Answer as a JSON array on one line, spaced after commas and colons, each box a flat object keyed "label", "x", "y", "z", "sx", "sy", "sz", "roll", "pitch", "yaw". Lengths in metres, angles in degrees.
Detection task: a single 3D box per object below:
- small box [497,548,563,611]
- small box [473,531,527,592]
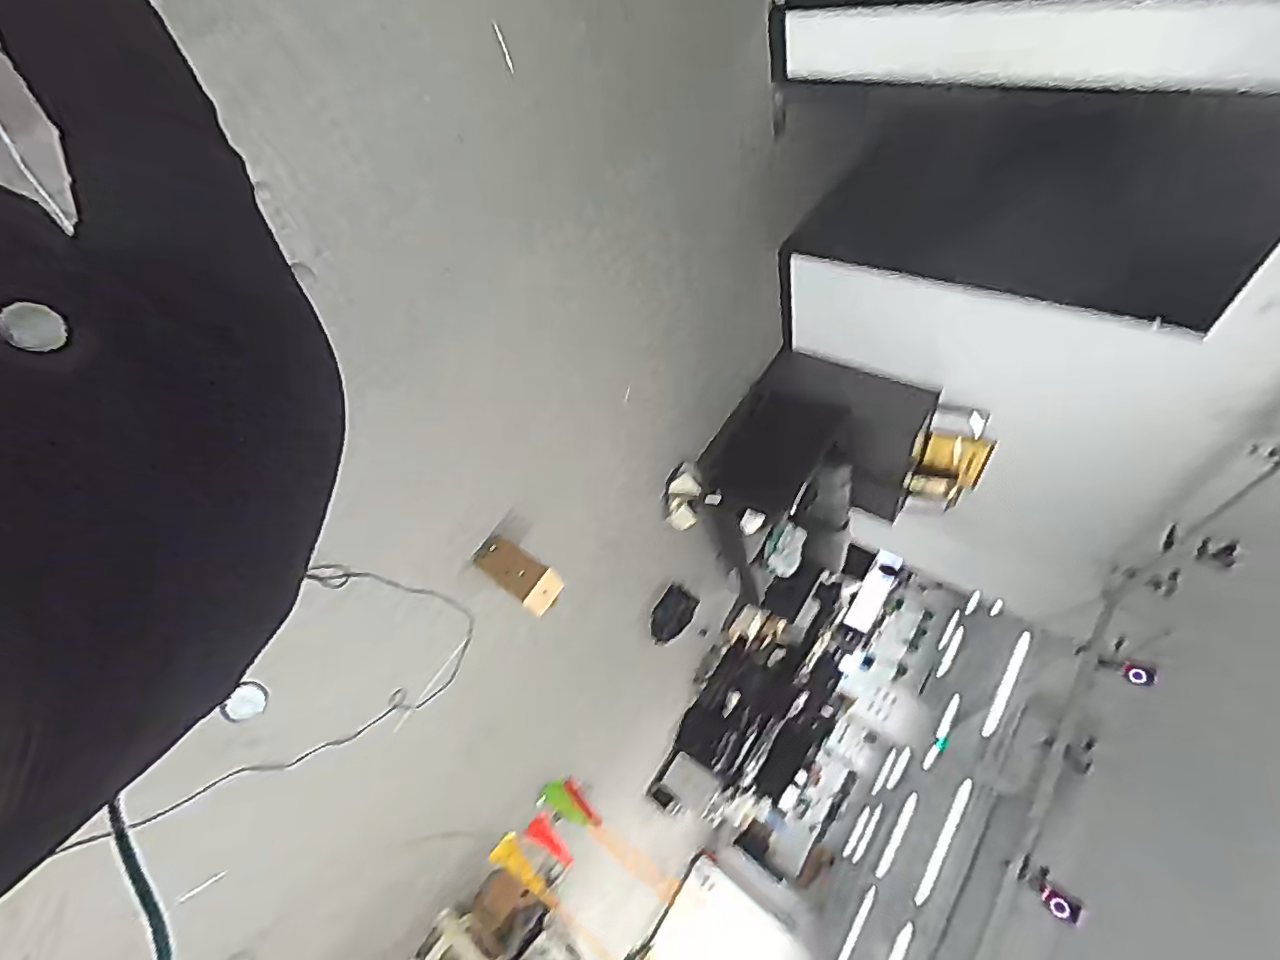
[{"label": "small box", "x": -0.449, "y": 0.401, "z": 2.200, "sx": 0.168, "sy": 0.176, "sz": 0.179, "roll": -53, "pitch": 150, "yaw": -19}, {"label": "small box", "x": -0.572, "y": 0.345, "z": 2.296, "sx": 0.168, "sy": 0.176, "sz": 0.179, "roll": -52, "pitch": 149, "yaw": -21}]
